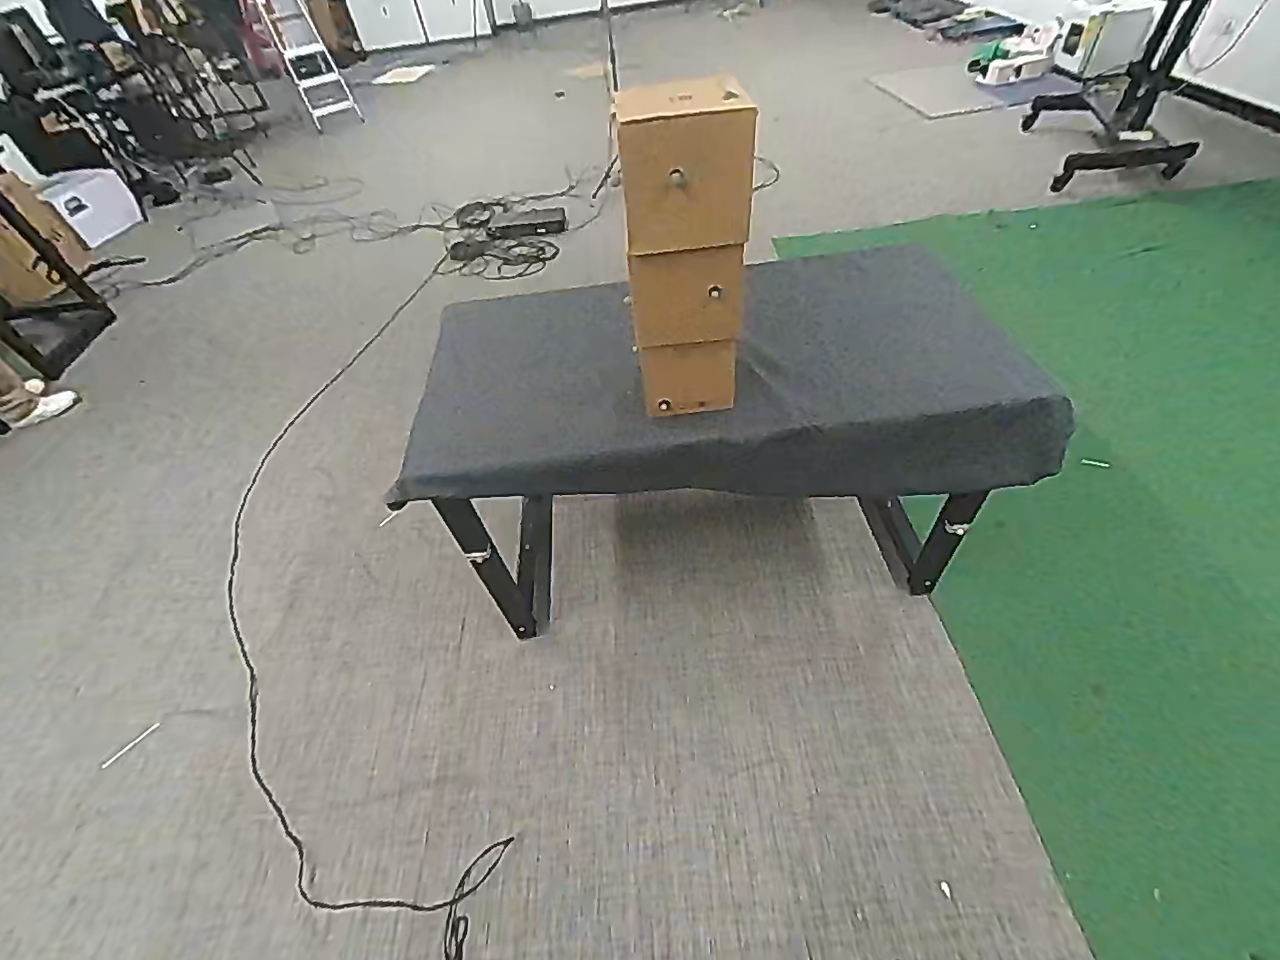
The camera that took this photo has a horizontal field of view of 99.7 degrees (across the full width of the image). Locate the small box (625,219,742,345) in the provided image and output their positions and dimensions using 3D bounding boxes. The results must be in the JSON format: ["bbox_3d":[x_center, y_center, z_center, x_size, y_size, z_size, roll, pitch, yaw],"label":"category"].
[{"bbox_3d":[0.071,-0.347,0.906,0.179,0.176,0.168,-6,47,4],"label":"small box"}]

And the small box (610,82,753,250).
[{"bbox_3d":[0.057,-0.449,0.781,0.179,0.176,0.168,-8,46,0],"label":"small box"}]

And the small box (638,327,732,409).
[{"bbox_3d":[0.081,-0.252,1.038,0.168,0.176,0.179,-9,50,1],"label":"small box"}]
